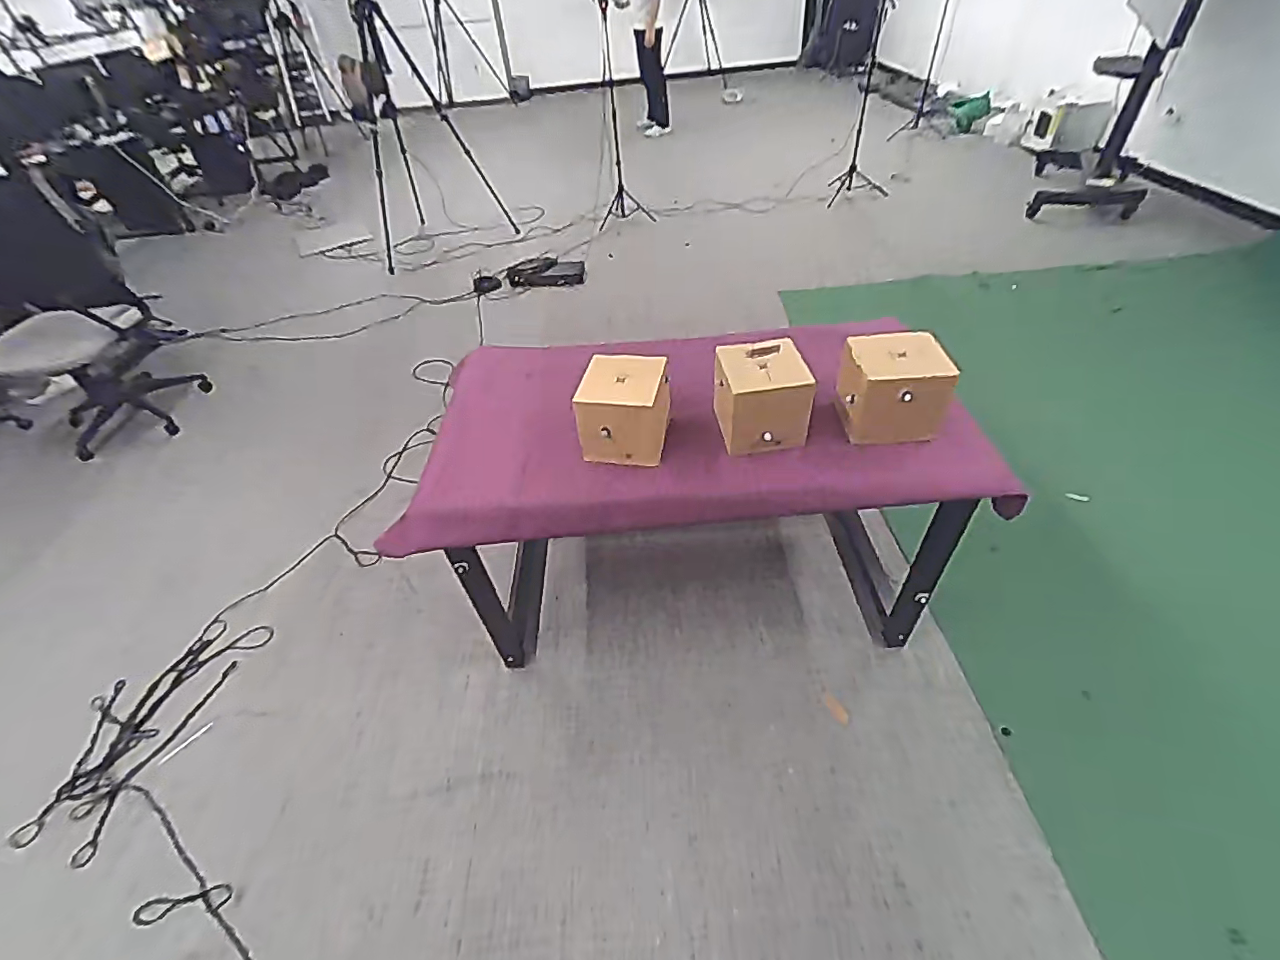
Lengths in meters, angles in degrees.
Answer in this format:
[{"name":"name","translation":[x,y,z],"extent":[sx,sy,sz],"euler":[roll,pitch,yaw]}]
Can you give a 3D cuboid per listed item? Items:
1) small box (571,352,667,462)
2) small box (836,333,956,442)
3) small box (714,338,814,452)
[{"name":"small box","translation":[-0.035,-0.155,1.164],"extent":[0.168,0.176,0.179],"euler":[5,45,11]},{"name":"small box","translation":[0.525,-0.192,1.143],"extent":[0.179,0.176,0.168],"euler":[-2,44,4]},{"name":"small box","translation":[0.255,-0.182,1.160],"extent":[0.168,0.176,0.179],"euler":[-7,45,-1]}]
